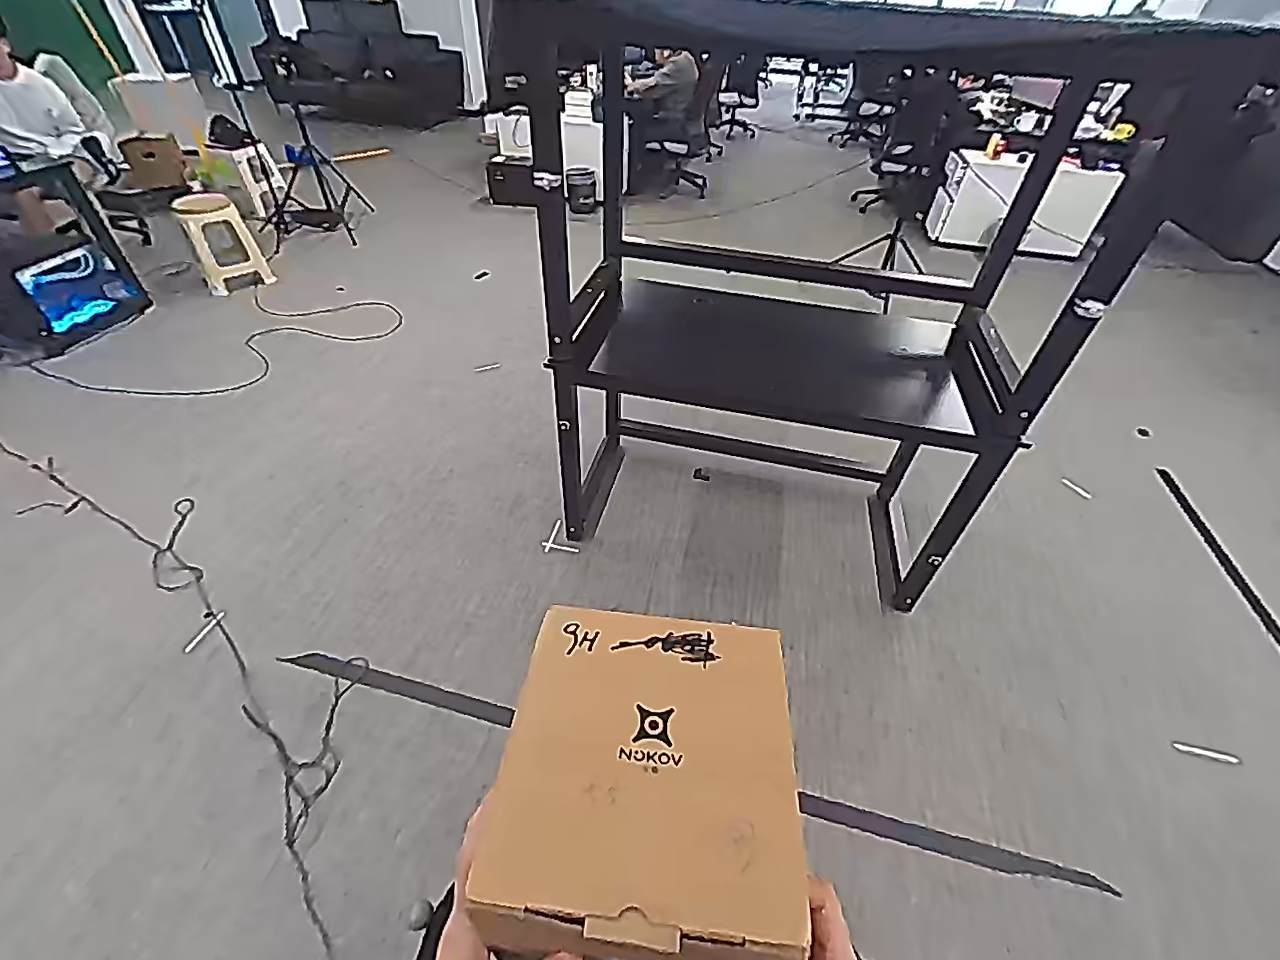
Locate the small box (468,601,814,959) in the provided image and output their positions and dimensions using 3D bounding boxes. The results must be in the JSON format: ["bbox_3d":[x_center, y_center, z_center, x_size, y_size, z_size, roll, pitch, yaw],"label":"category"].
[{"bbox_3d":[0.007,0.209,0.362,0.168,0.176,0.179,6,40,4],"label":"small box"}]
